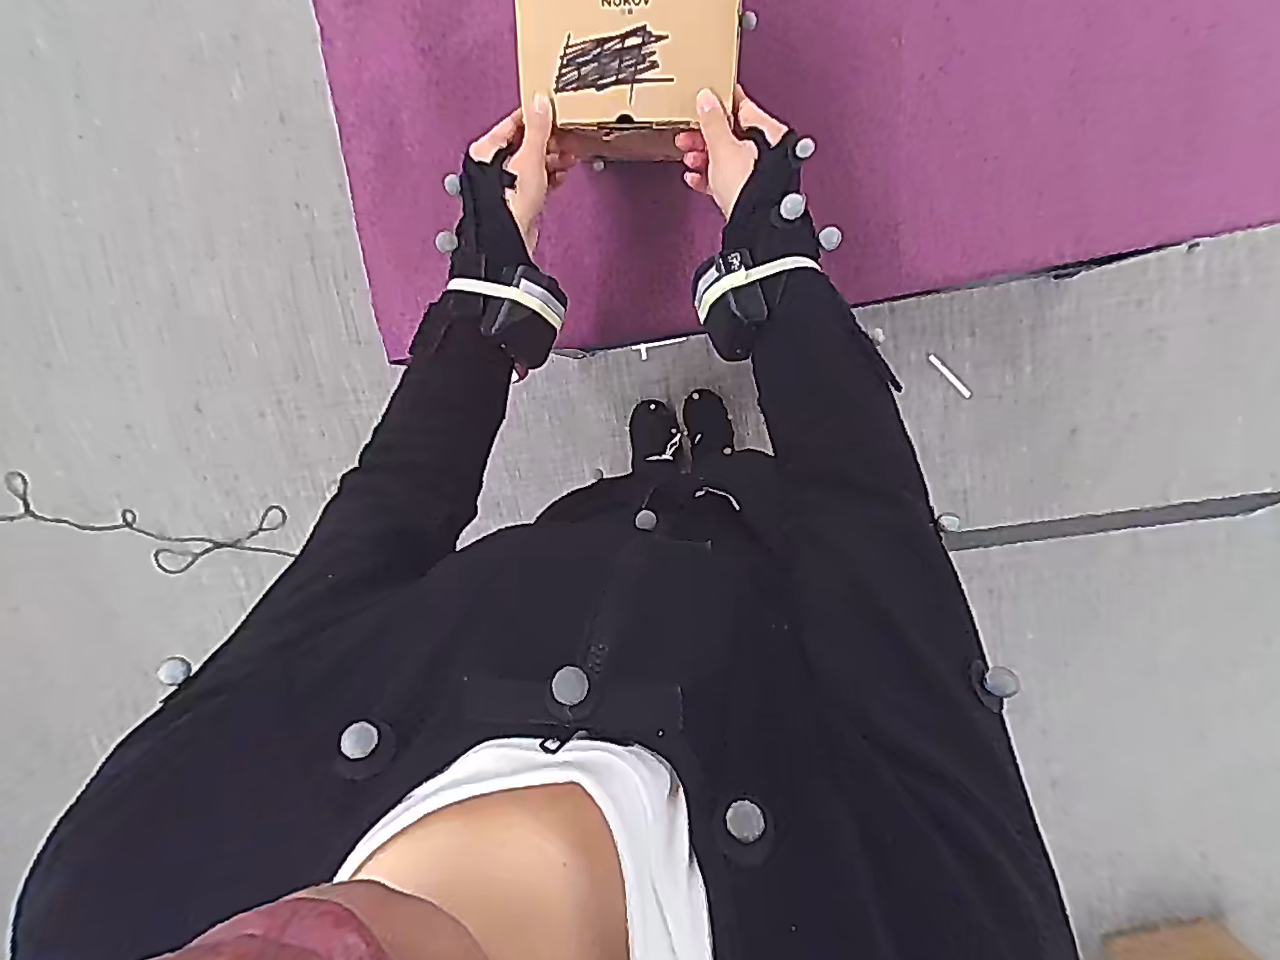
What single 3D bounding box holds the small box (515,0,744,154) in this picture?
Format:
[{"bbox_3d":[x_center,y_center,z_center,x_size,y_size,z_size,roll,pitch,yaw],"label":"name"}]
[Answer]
[{"bbox_3d":[0.002,-0.387,0.456,0.168,0.176,0.179,4,112,7],"label":"small box"}]
